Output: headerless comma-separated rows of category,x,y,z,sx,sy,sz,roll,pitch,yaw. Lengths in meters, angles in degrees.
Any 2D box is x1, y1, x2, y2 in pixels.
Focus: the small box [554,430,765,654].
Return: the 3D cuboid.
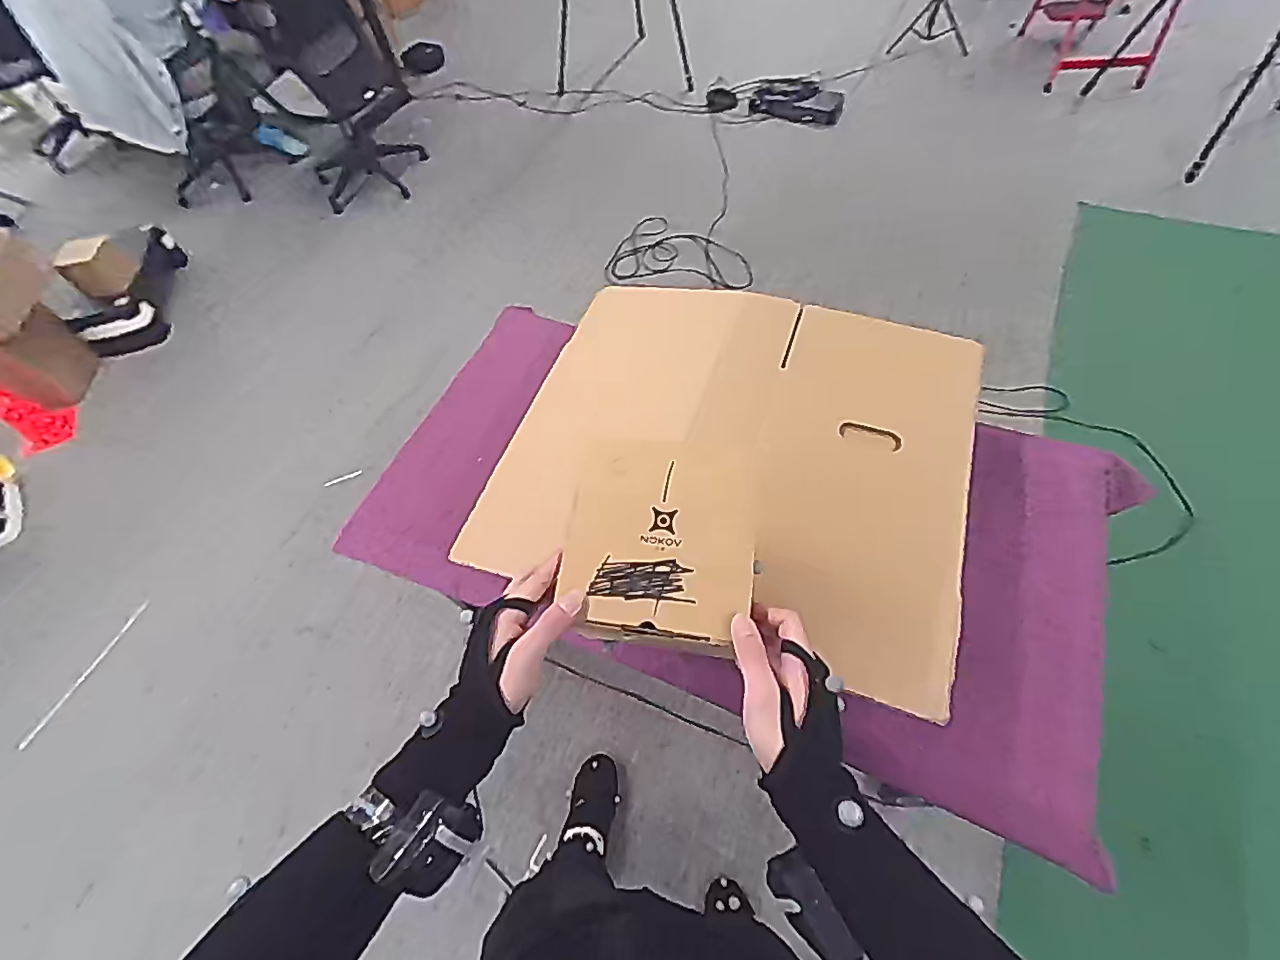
small box,0.027,0.072,0.544,0.168,0.176,0.179,7,68,7
